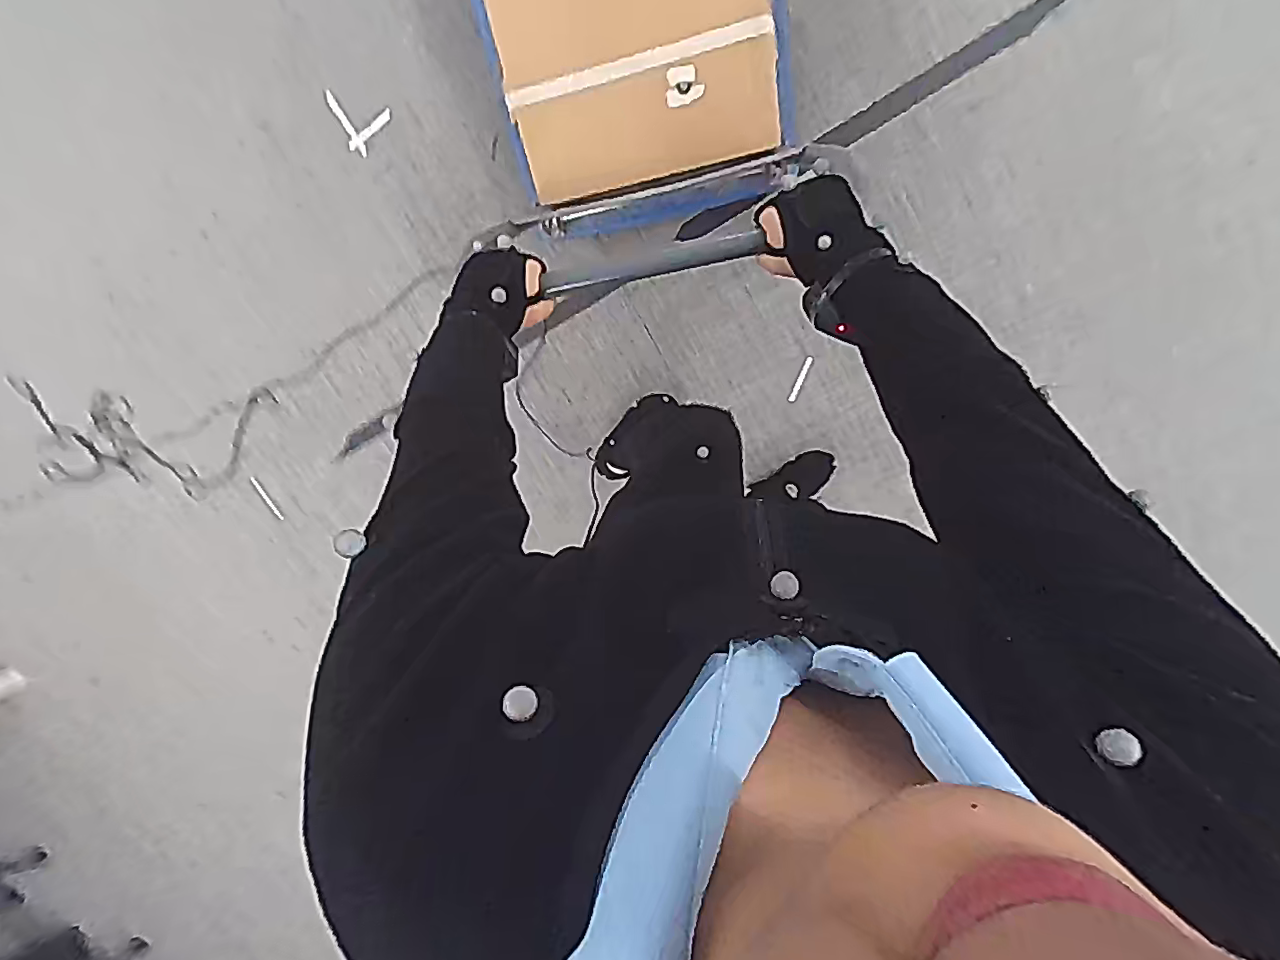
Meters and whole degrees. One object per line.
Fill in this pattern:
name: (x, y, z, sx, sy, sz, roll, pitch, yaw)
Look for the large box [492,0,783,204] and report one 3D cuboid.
large box: (0.010, -0.709, 0.958, 0.408, 0.320, 0.320, -10, 117, 9)
